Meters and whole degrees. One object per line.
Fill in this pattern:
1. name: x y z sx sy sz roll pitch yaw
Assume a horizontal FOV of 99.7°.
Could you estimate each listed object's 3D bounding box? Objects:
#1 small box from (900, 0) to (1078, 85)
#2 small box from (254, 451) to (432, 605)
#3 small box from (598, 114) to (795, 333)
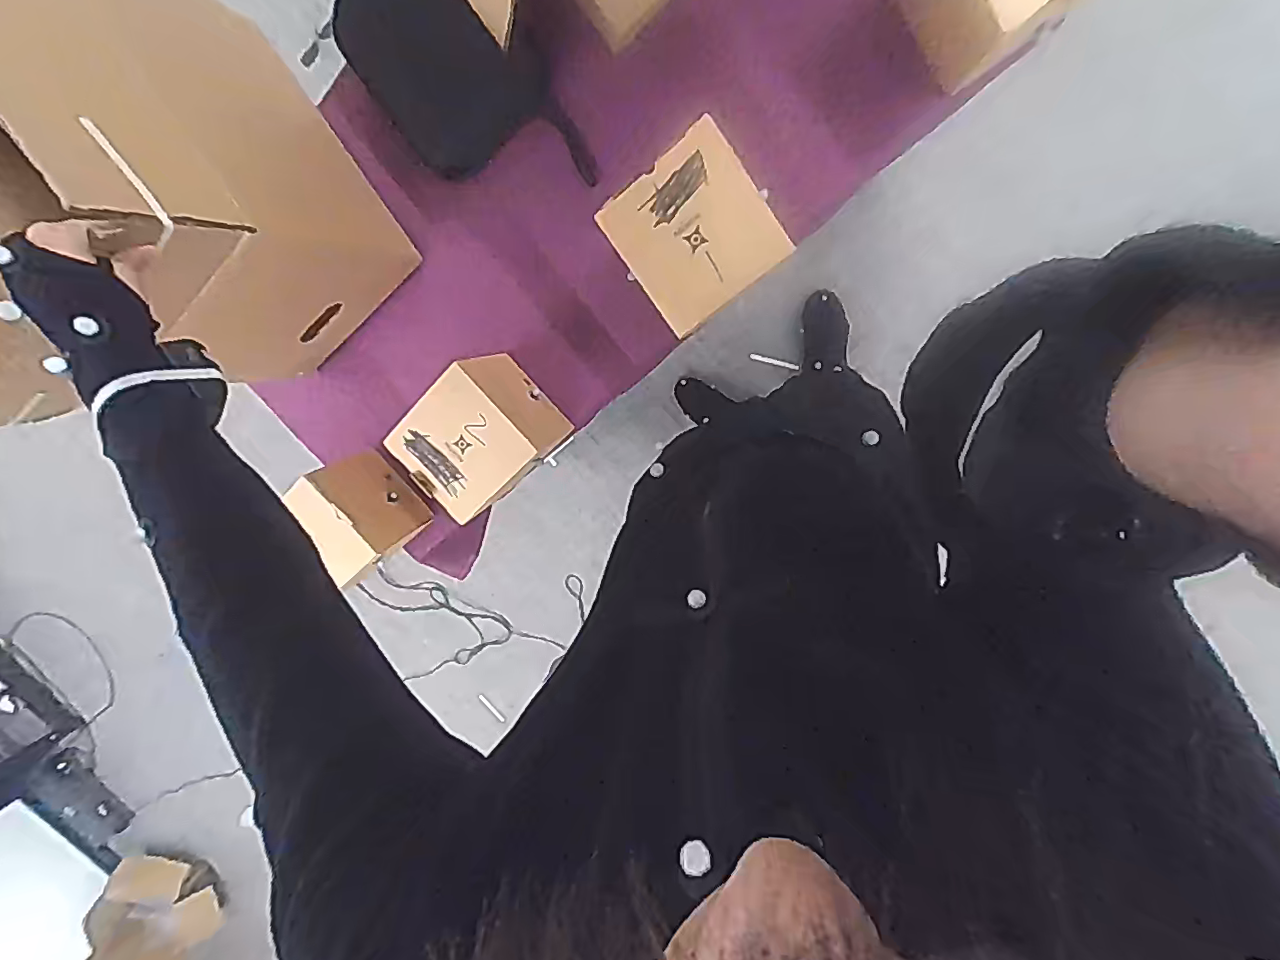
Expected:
1. small box: 0.376 -0.558 0.547 0.168 0.176 0.179 -31 99 20
2. small box: -0.501 0.076 0.937 0.179 0.176 0.168 -38 97 19
3. small box: 0.076 -0.310 0.692 0.168 0.176 0.179 -34 99 20
